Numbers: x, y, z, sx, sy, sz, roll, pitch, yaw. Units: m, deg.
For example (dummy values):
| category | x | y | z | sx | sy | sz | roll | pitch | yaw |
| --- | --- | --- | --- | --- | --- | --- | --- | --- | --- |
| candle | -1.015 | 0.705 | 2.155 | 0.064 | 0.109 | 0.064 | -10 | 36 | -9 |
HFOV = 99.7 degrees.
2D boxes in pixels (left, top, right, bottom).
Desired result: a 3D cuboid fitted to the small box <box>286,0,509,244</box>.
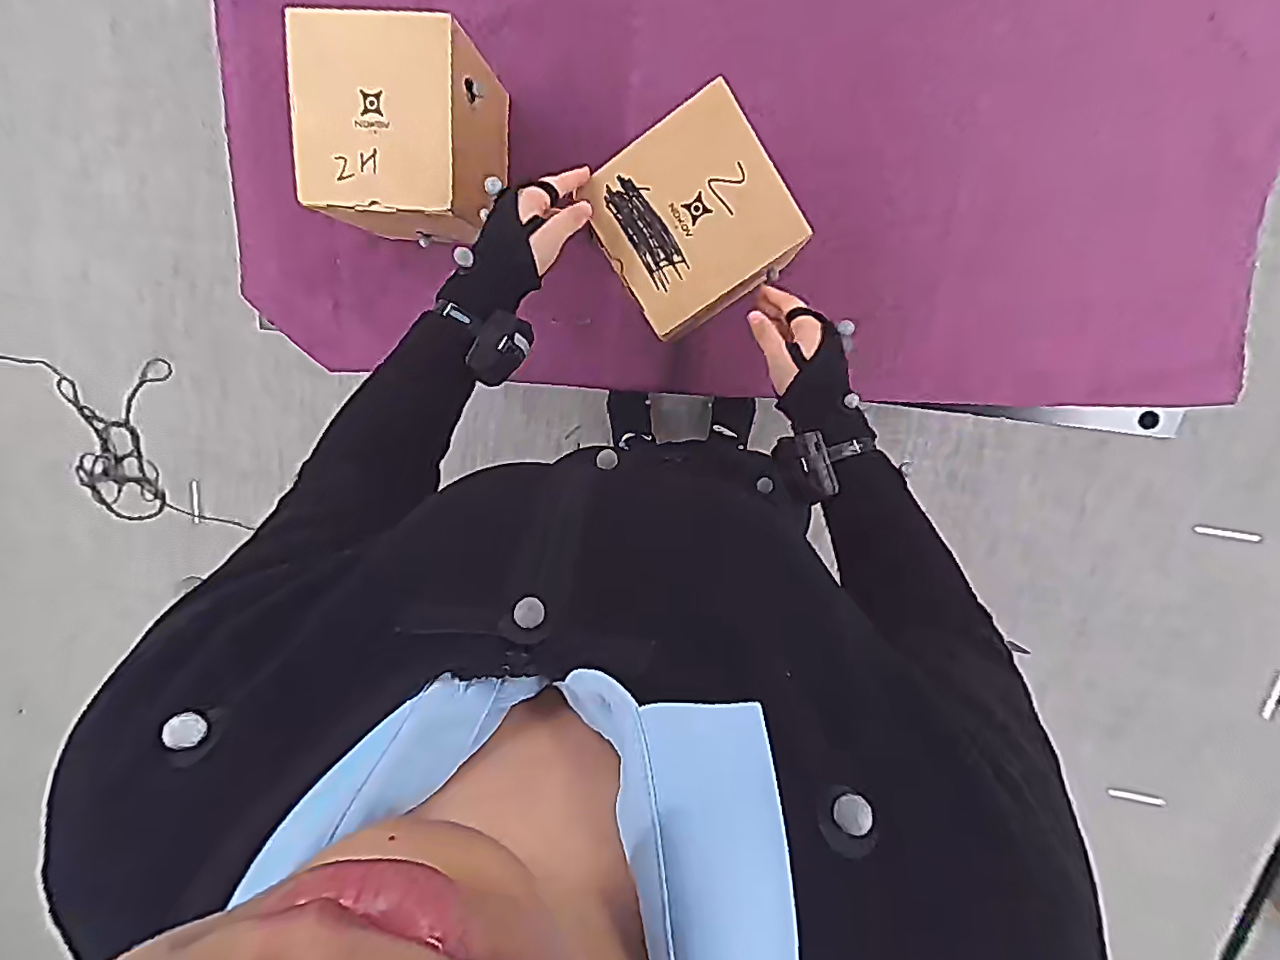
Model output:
| category | x | y | z | sx | sy | sz | roll | pitch | yaw |
| --- | --- | --- | --- | --- | --- | --- | --- | --- | --- |
| small box | -0.251 | -0.375 | 0.597 | 0.168 | 0.176 | 0.179 | 5 | 104 | 4 |
